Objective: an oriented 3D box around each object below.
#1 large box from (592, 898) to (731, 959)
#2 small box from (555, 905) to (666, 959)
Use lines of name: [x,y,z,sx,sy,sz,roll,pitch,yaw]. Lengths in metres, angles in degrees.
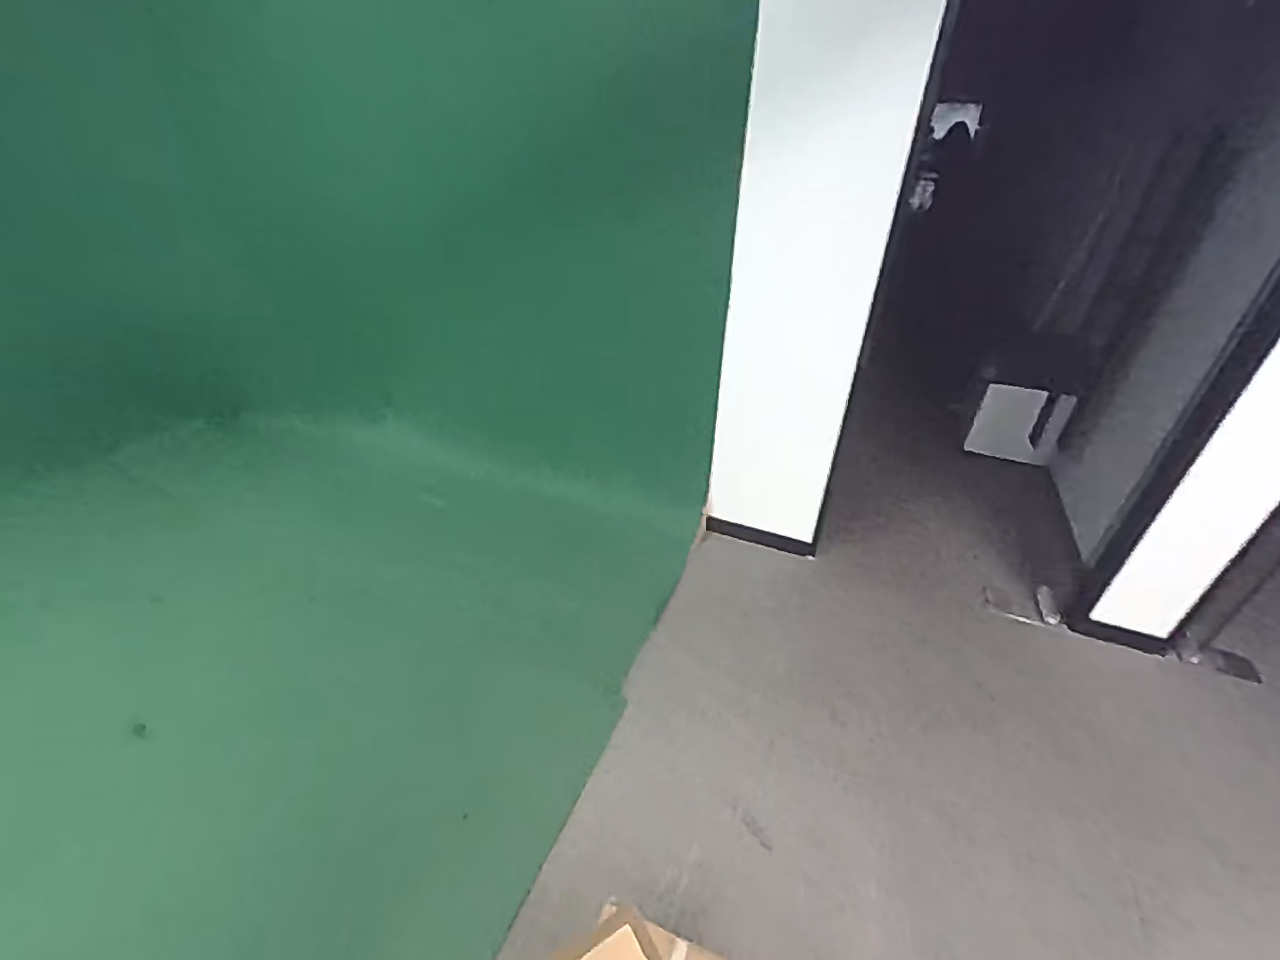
large box: [-0.001,1.058,0.916,0.320,0.320,0.408,14,35,19]
small box: [-0.035,0.481,0.426,0.179,0.176,0.168,-29,61,-15]
